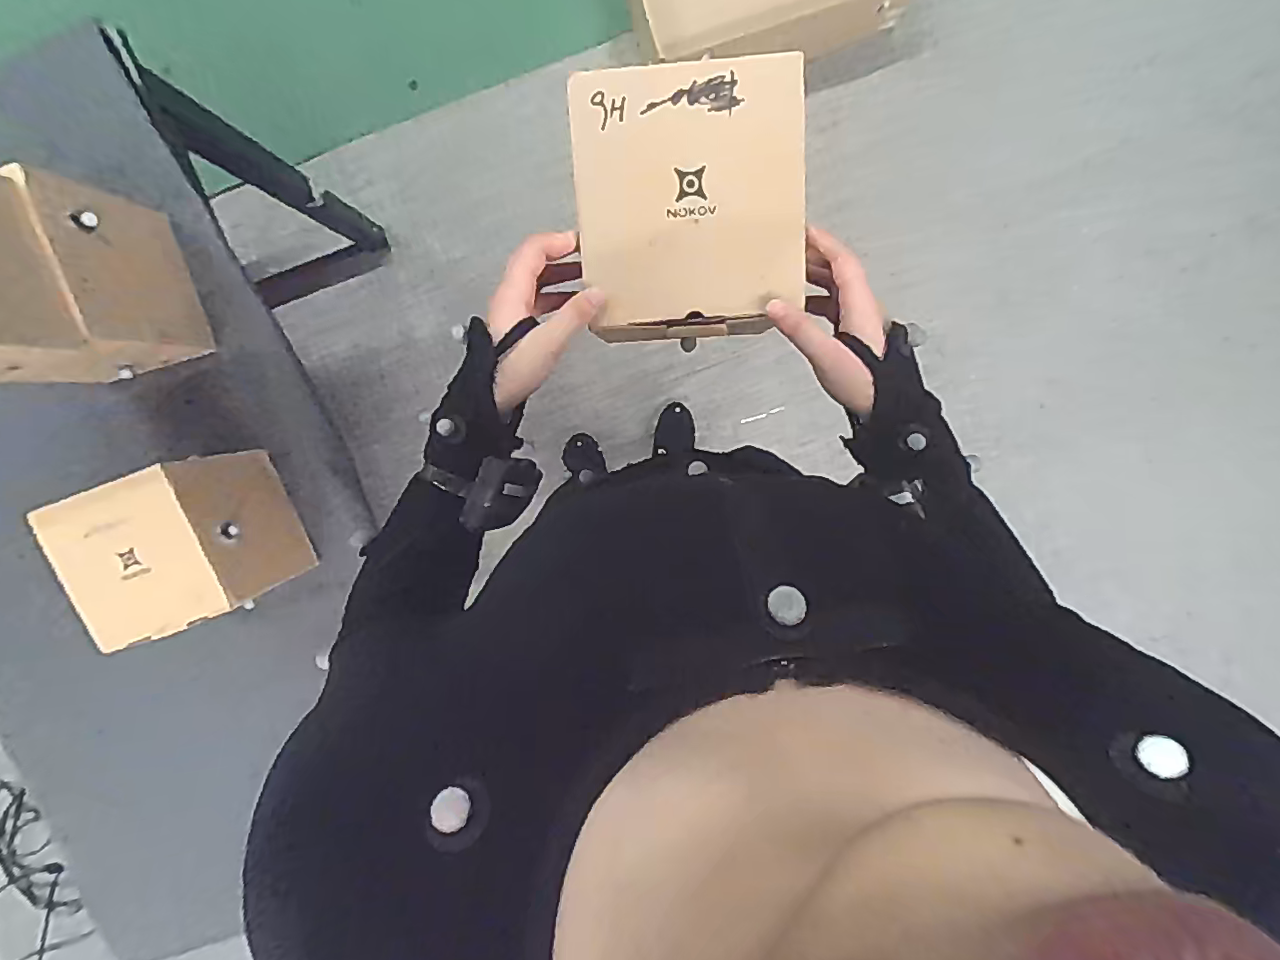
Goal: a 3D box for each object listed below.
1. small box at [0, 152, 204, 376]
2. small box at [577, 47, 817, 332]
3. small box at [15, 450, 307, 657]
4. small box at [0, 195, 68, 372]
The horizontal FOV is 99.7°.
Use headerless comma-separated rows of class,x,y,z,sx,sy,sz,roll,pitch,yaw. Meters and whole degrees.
small box,-0.649,-0.220,0.599,0.168,0.176,0.179,-15,100,3
small box,0.044,-0.220,0.462,0.168,0.176,0.179,-3,102,1
small box,-0.550,0.076,0.653,0.168,0.176,0.179,-20,98,2
small box,-0.655,-0.175,0.441,0.168,0.176,0.179,-16,101,3
